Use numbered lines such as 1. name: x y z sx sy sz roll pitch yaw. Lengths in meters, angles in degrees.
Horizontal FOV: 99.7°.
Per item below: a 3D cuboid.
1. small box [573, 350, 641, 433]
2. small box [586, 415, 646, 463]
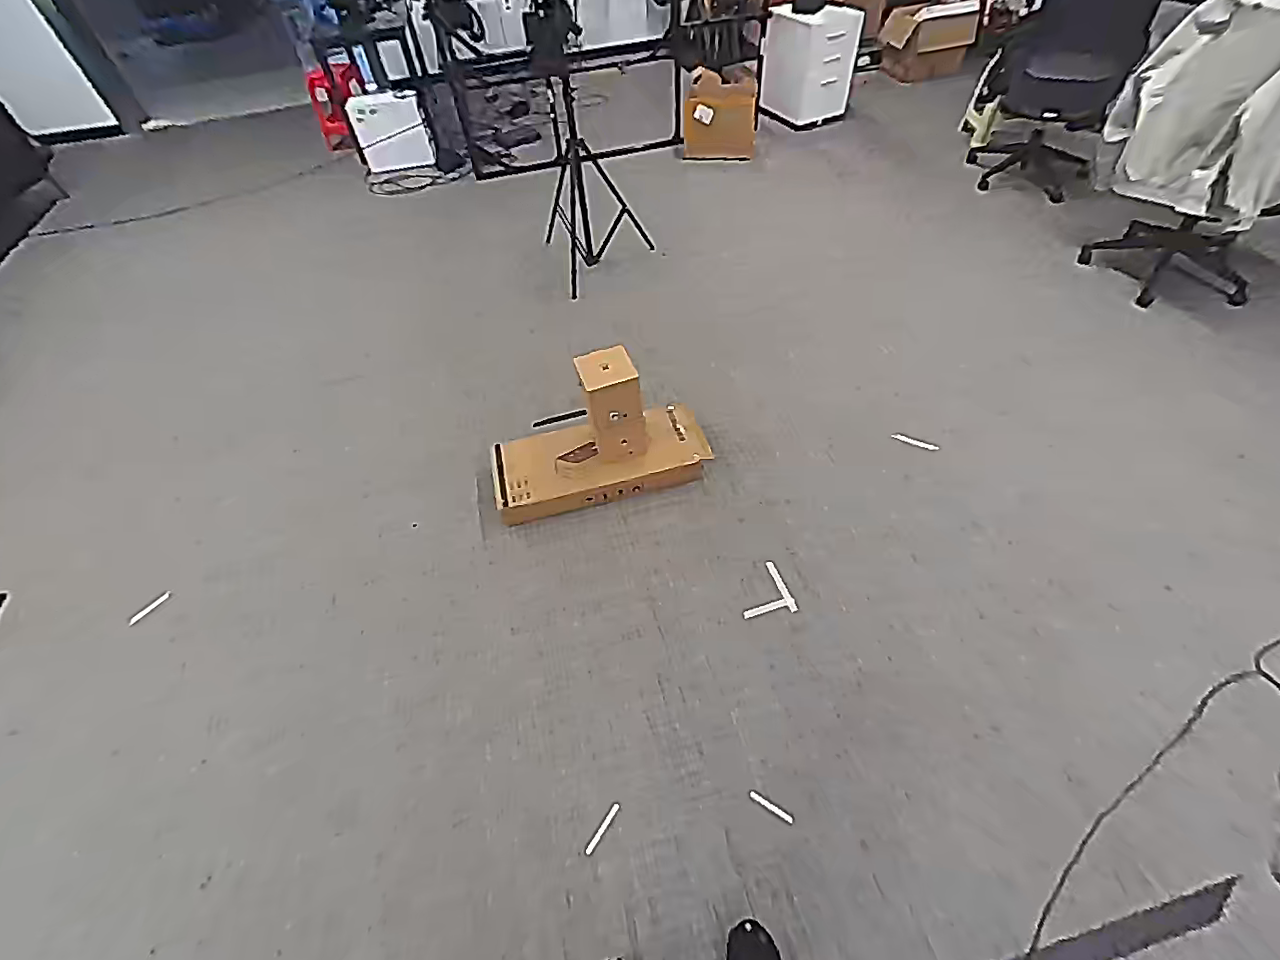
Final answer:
1. small box: -0.102 -0.278 1.710 0.168 0.176 0.179 -19 52 -9
2. small box: -0.083 -0.176 1.836 0.168 0.176 0.179 -16 51 -9
